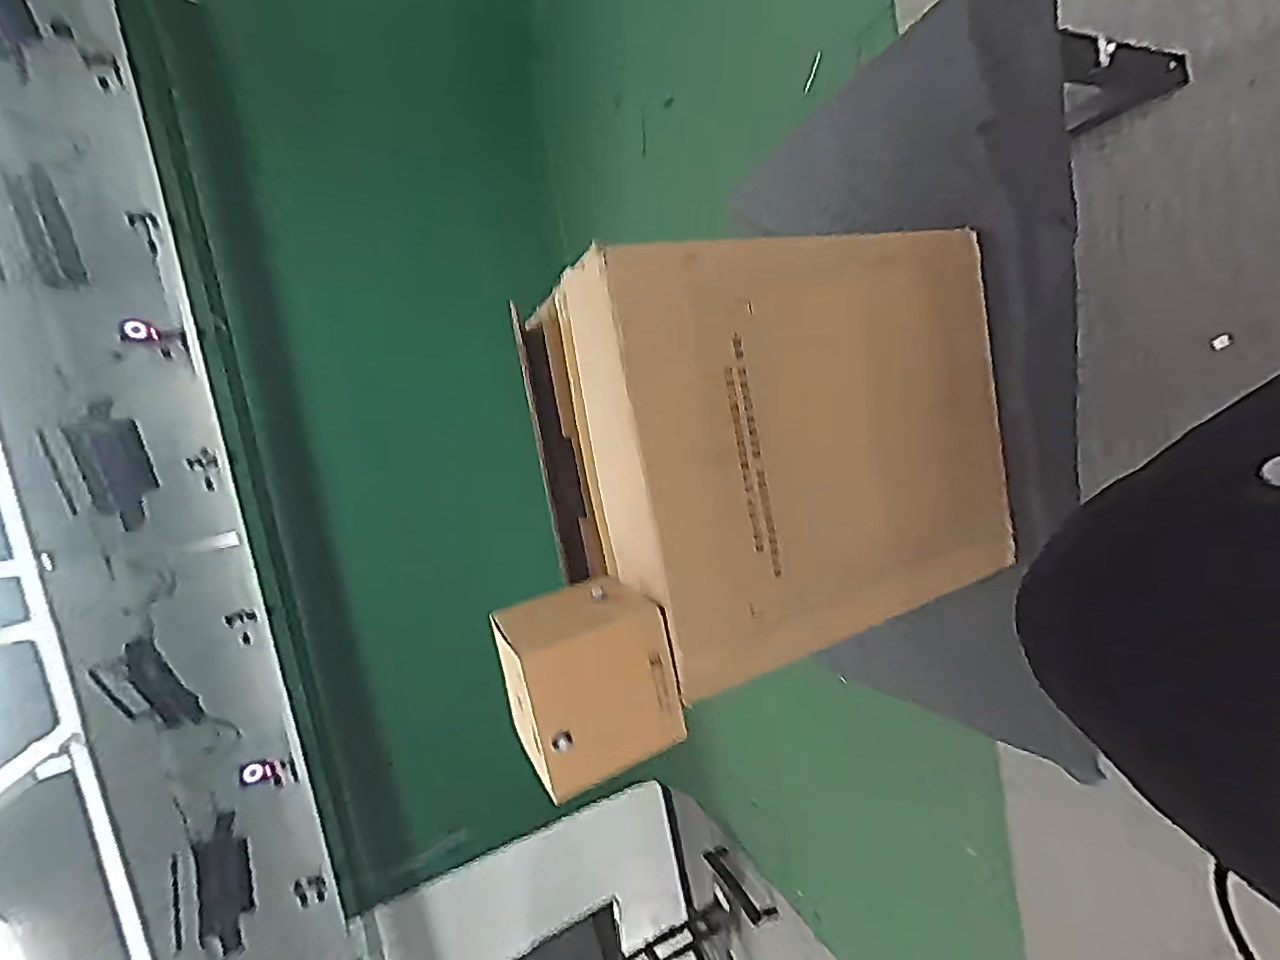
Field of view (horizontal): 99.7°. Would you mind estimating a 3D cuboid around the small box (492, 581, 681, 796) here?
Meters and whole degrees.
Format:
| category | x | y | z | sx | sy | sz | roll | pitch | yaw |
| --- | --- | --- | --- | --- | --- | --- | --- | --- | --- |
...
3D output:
| category | x | y | z | sx | sy | sz | roll | pitch | yaw |
| --- | --- | --- | --- | --- | --- | --- | --- | --- | --- |
| small box | -0.070 | 0.237 | 0.668 | 0.179 | 0.176 | 0.168 | 4 | 108 | 66 |
